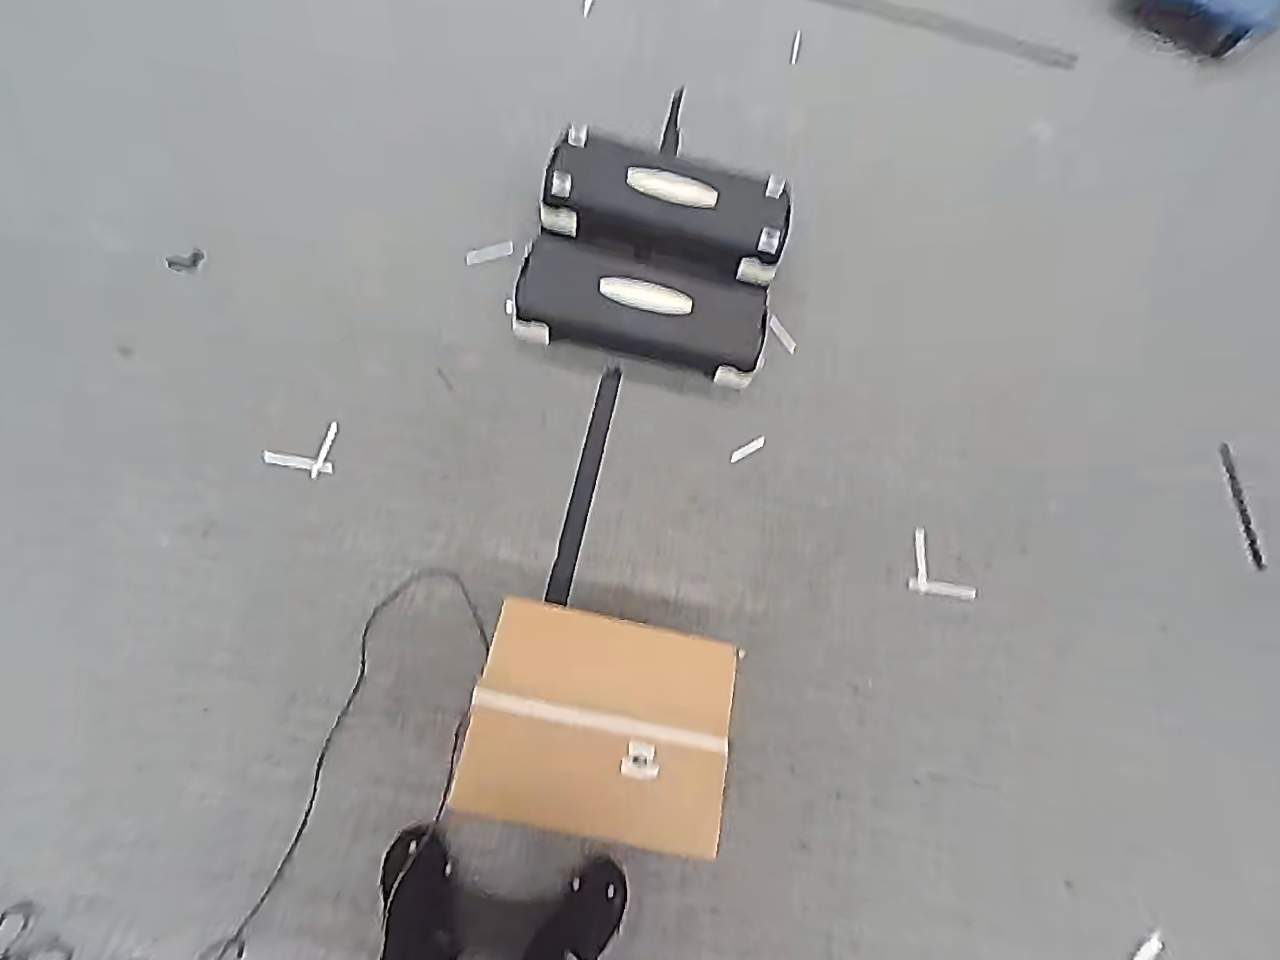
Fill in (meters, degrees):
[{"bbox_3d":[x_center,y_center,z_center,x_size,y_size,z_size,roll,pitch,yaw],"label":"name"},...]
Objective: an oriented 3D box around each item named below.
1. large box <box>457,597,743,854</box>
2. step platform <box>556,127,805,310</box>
[{"bbox_3d":[-0.068,0.425,0.971,0.408,0.320,0.320,14,67,-4],"label":"large box"},{"bbox_3d":[0.114,-0.741,1.538,0.684,0.204,0.286,19,66,-2],"label":"step platform"}]
